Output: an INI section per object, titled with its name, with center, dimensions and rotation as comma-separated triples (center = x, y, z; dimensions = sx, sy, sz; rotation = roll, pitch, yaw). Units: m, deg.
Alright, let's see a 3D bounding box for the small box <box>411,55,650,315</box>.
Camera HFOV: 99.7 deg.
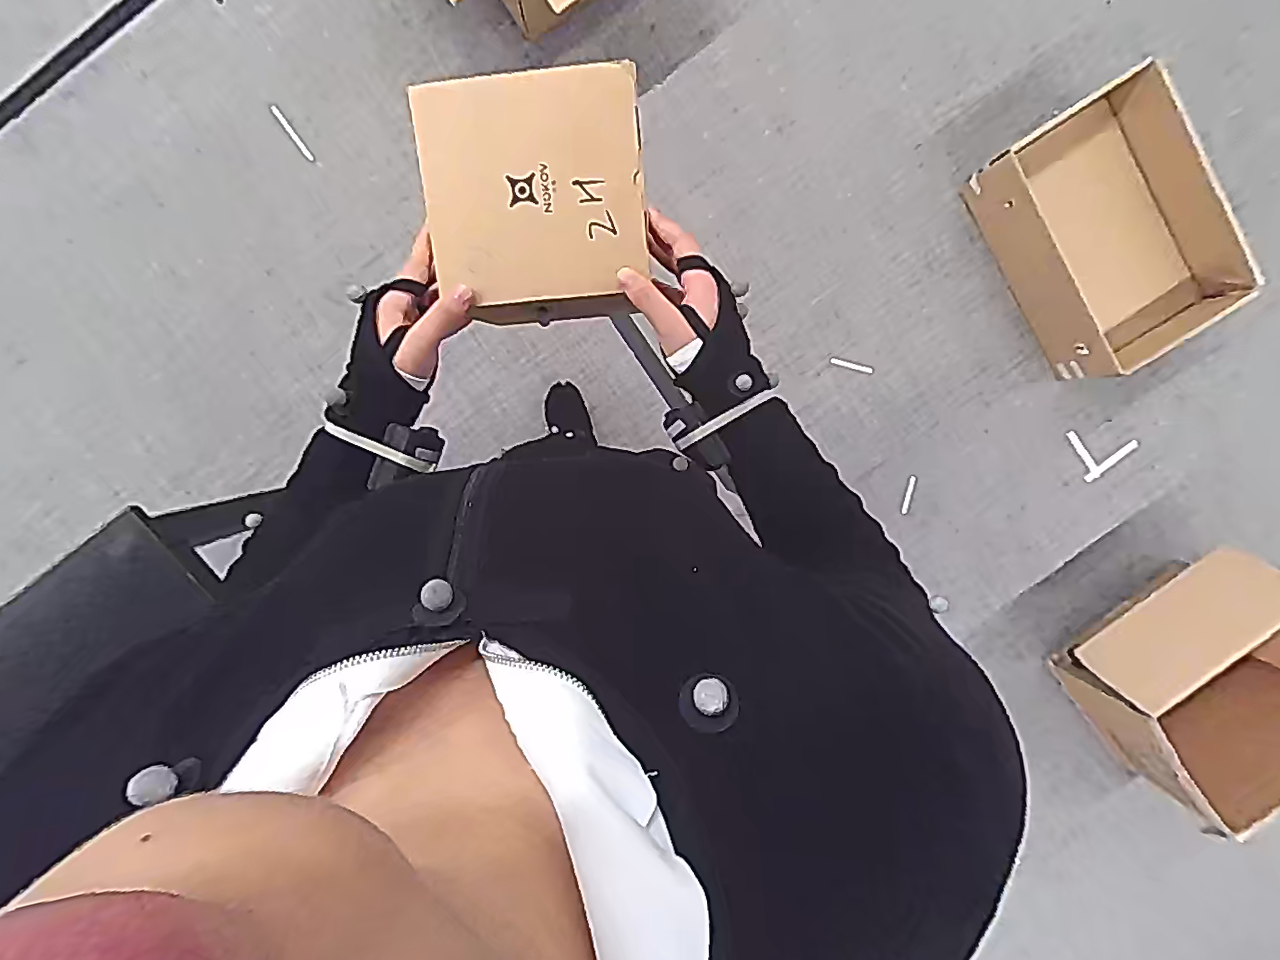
[small box]
center = -0.083, -0.252, 0.506
dimensions = 0.179, 0.176, 0.168
rotation = -5, 102, 2
